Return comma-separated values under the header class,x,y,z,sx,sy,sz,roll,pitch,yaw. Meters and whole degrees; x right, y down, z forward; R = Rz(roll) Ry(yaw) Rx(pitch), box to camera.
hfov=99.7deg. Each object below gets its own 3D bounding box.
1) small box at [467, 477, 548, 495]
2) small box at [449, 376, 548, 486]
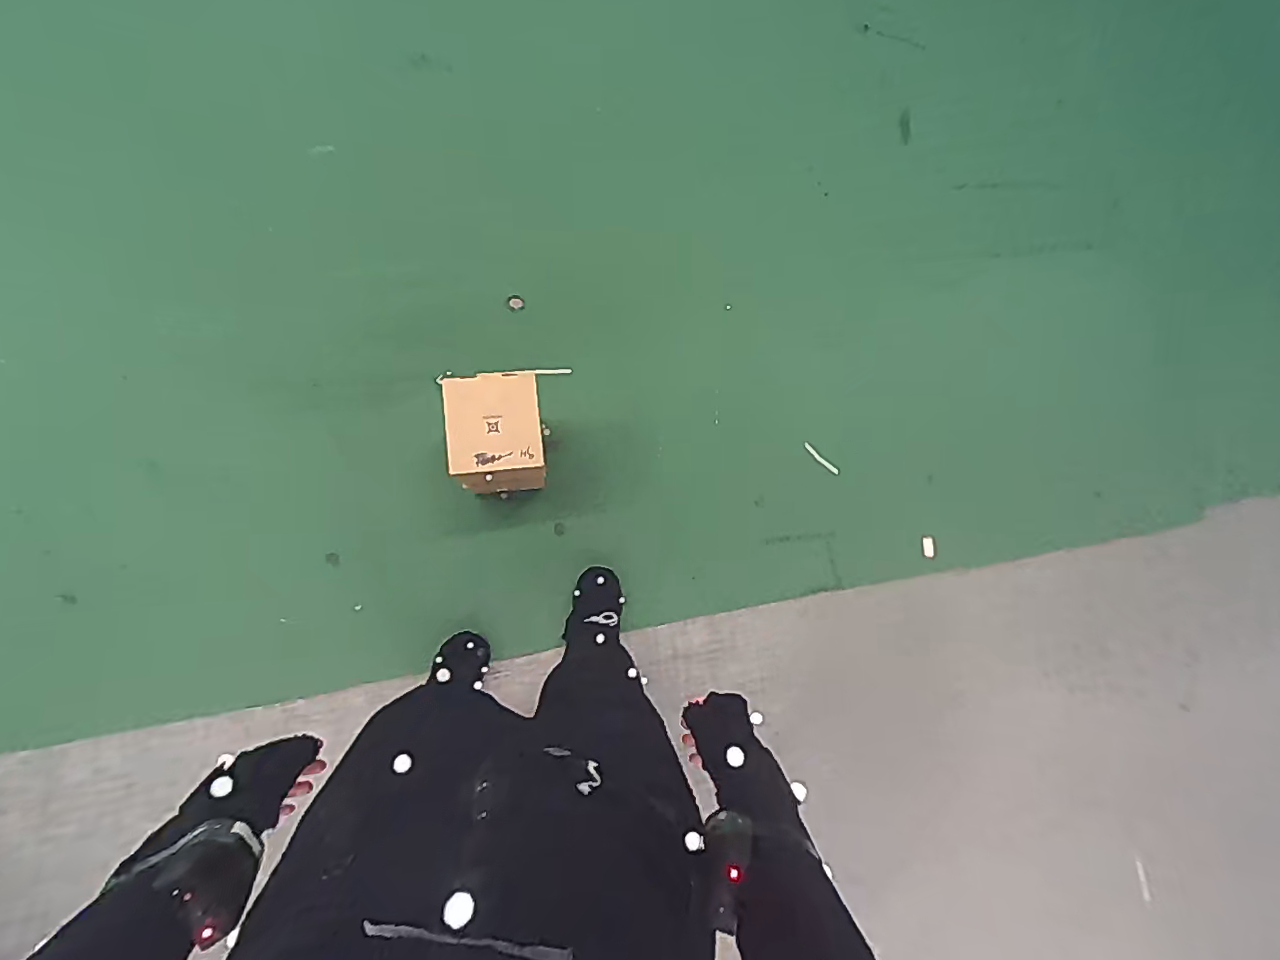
class,x,y,z,sx,sy,sz,roll,pitch,yaw
small box,-0.297,-0.065,1.210,0.168,0.176,0.179,-6,85,-9
small box,-0.269,-0.090,1.050,0.168,0.176,0.179,-5,83,-9
